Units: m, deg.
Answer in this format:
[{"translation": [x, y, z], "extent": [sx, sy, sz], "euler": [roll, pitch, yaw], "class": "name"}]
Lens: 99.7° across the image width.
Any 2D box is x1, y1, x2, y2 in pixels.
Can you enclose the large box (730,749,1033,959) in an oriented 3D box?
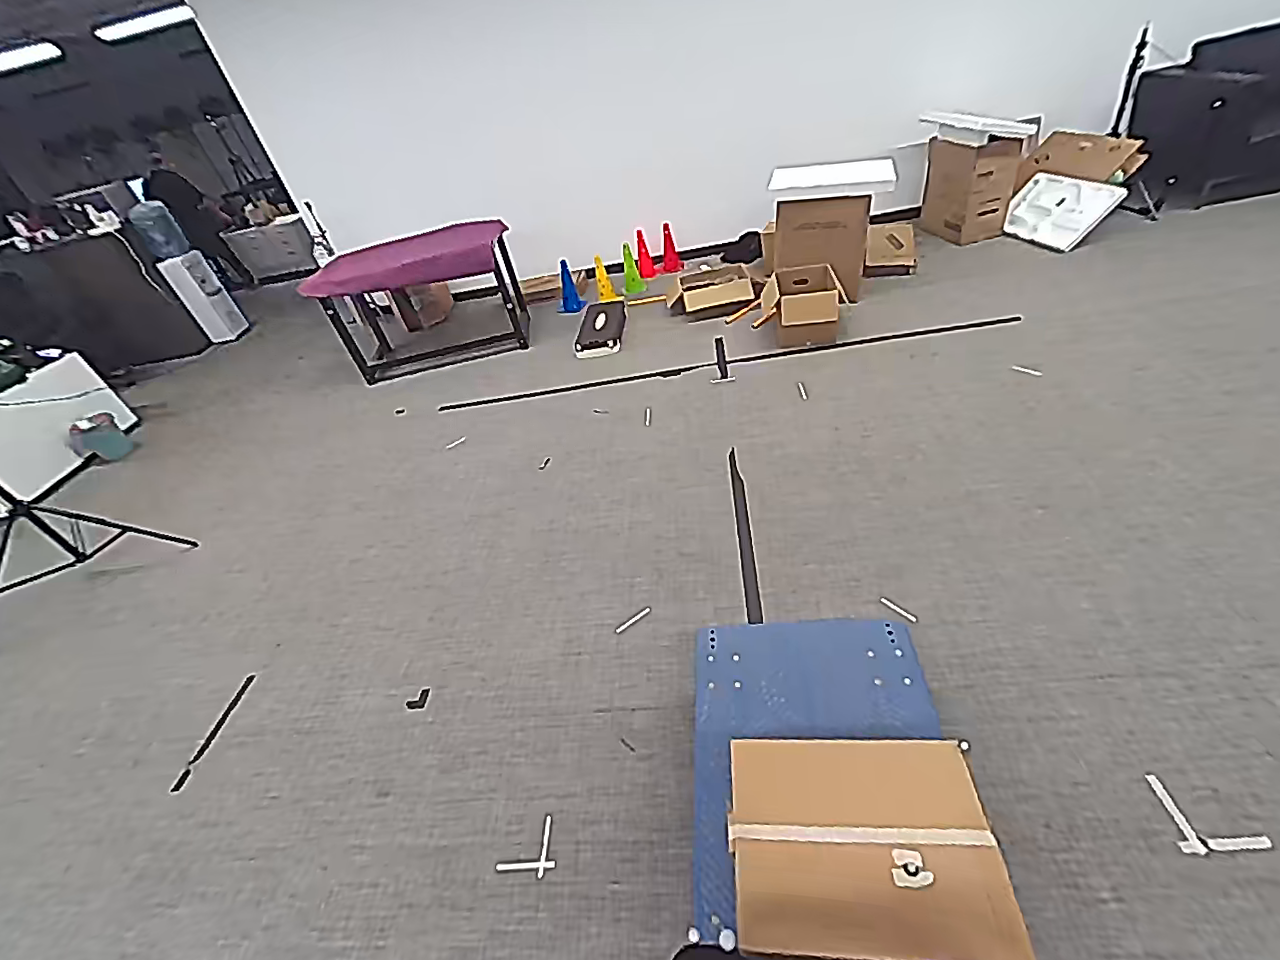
[{"translation": [0.378, 0.707, 0.964], "extent": [0.408, 0.320, 0.320], "euler": [-4, 40, 10], "class": "large box"}]
